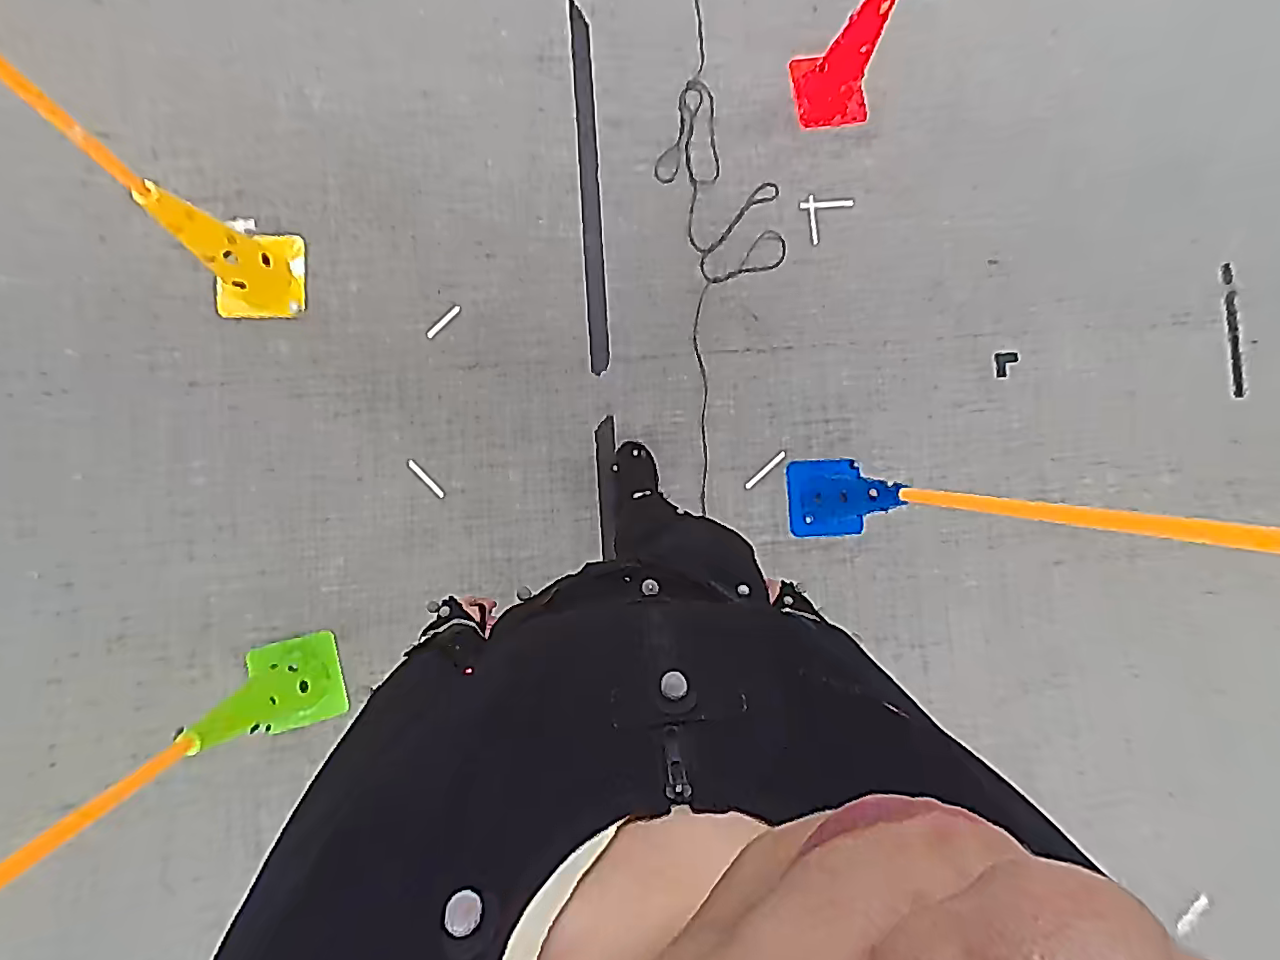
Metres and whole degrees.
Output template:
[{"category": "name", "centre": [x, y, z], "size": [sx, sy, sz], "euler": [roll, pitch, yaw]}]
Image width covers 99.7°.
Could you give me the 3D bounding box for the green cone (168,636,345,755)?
[{"category": "green cone", "centre": [-0.784, 0.464, 1.084], "size": [0.200, 0.368, 0.202], "euler": [-15, 86, -7]}]

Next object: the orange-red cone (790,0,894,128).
[{"category": "orange-red cone", "centre": [0.532, -1.079, 1.316], "size": [0.199, 0.360, 0.198], "euler": [-9, 87, -5]}]

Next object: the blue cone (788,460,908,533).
[{"category": "blue cone", "centre": [0.499, 0.030, 1.253], "size": [0.193, 0.380, 0.192], "euler": [-1, 86, -6]}]
